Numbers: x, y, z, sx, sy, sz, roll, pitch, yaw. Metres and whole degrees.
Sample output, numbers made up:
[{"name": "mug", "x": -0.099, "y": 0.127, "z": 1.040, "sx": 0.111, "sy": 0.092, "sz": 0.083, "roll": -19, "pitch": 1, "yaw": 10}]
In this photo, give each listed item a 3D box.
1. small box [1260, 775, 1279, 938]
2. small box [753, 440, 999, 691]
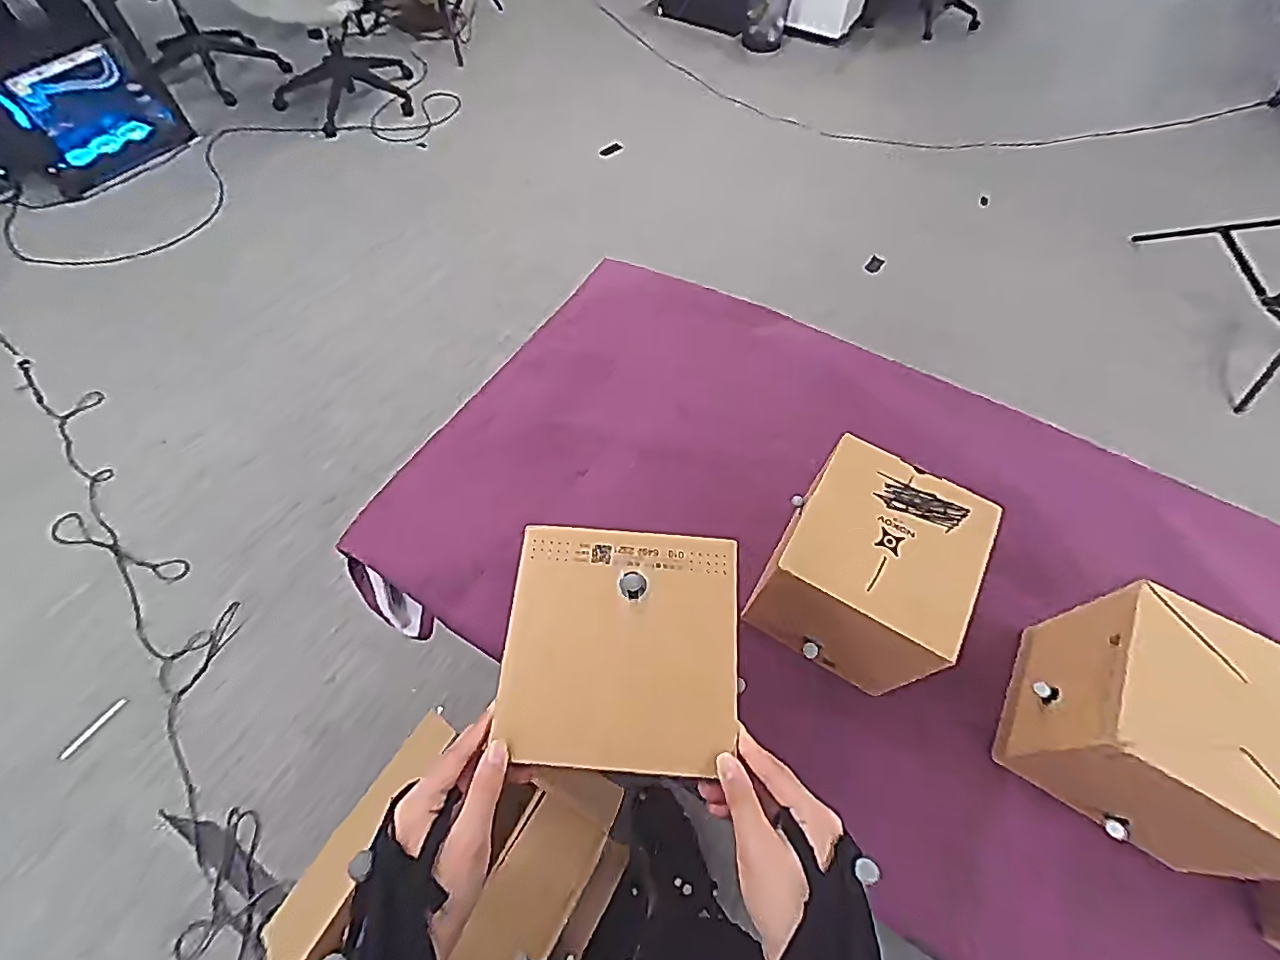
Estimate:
[{"name": "small box", "x": 0.686, "y": 0.353, "z": 0.439, "sx": 0.179, "sy": 0.176, "sz": 0.168, "roll": 30, "pitch": 60, "yaw": 15}, {"name": "small box", "x": 0.239, "y": 0.097, "z": 0.582, "sx": 0.168, "sy": 0.176, "sz": 0.179, "roll": 28, "pitch": 62, "yaw": 14}]
